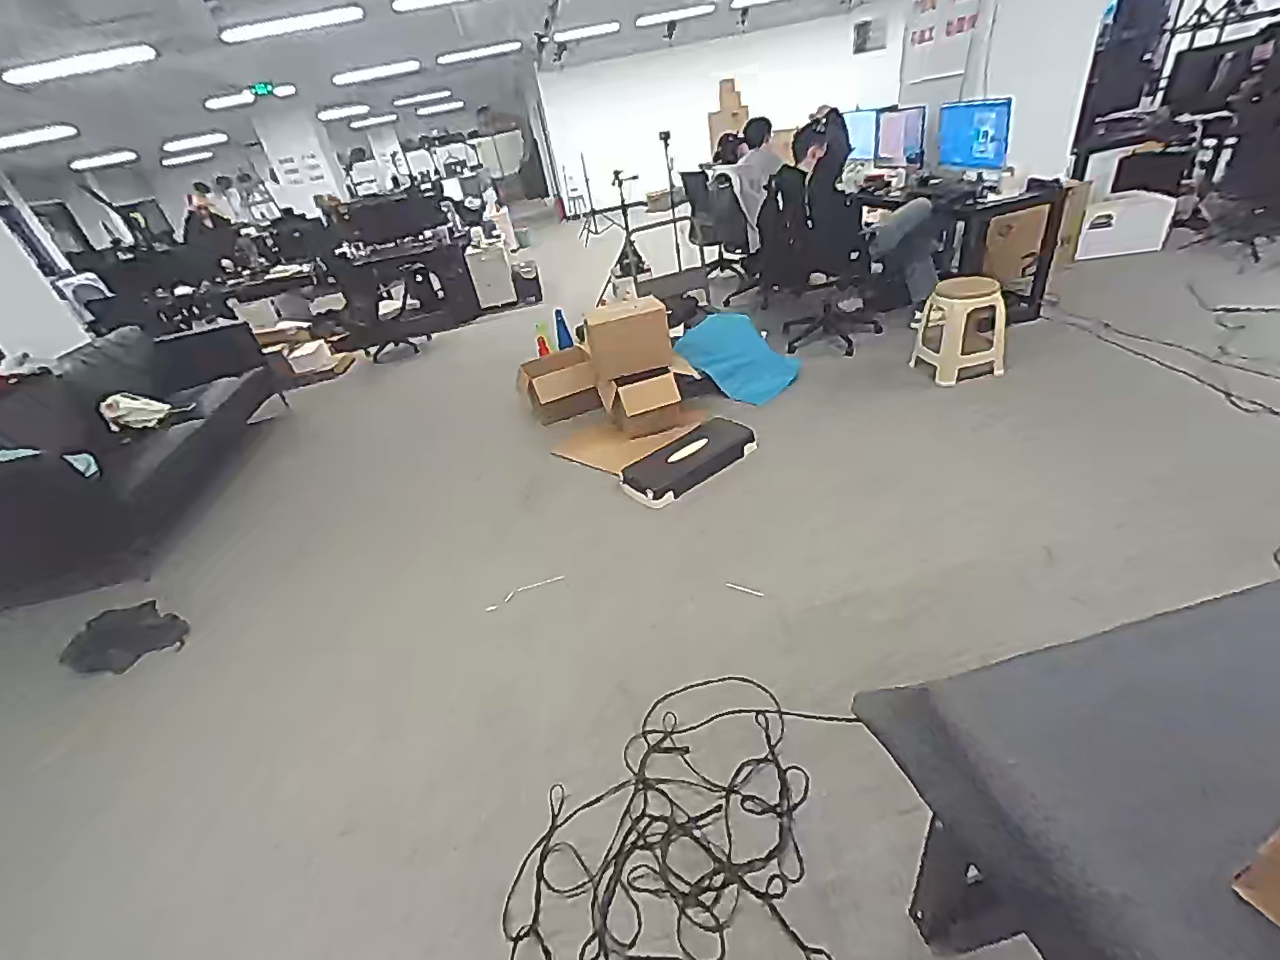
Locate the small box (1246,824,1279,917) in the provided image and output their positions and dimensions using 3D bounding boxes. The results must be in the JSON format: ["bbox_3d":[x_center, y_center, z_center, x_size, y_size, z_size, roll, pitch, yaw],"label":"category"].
[{"bbox_3d":[0.653,0.313,0.425,0.179,0.176,0.168,-24,35,-17],"label":"small box"}]
